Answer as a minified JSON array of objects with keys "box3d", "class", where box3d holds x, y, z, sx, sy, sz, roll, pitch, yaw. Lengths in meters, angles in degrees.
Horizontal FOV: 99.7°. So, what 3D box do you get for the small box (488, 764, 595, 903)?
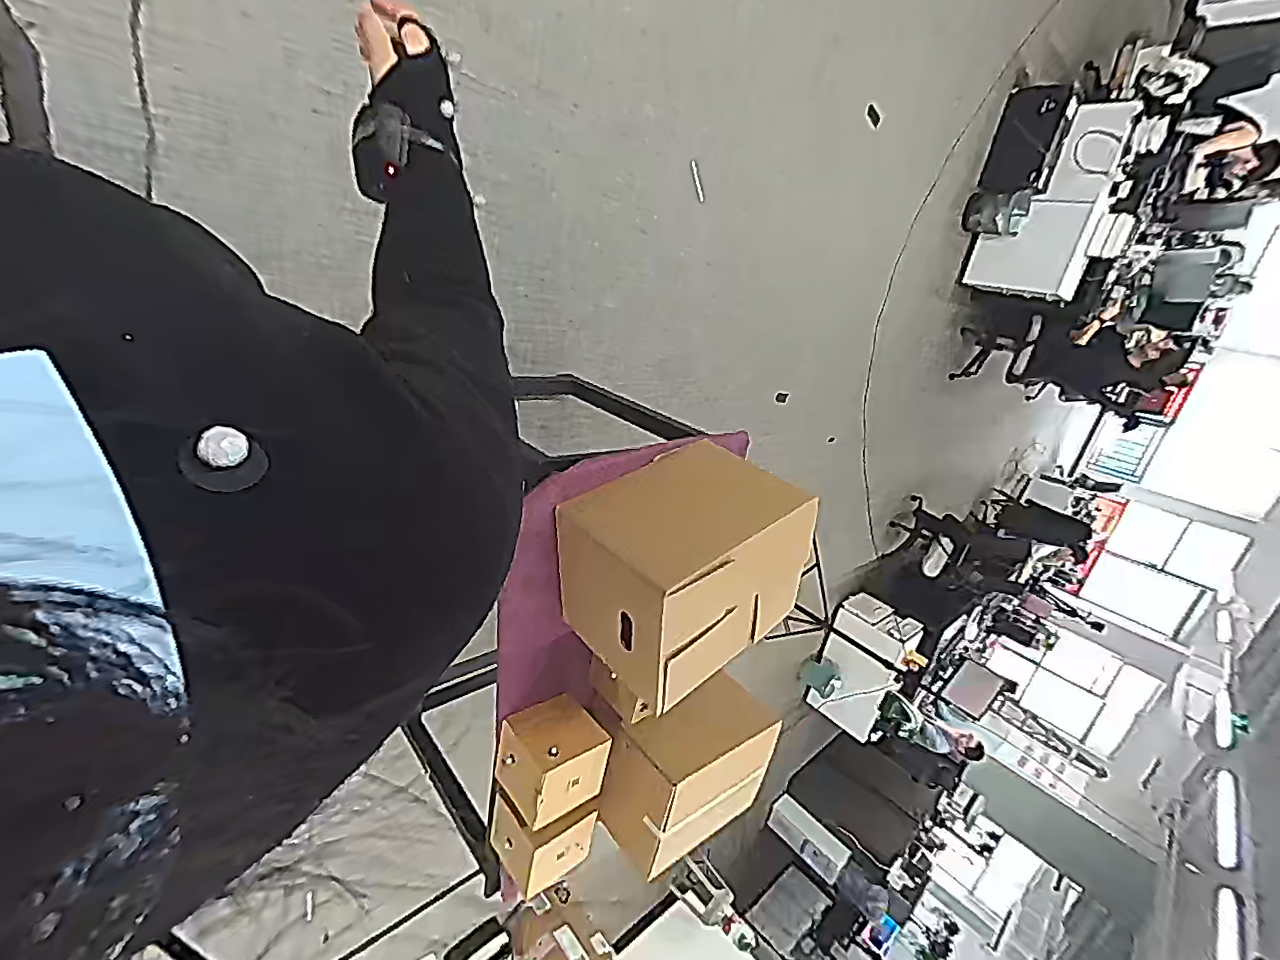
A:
[{"box3d":[-0.235,0.813,1.263,0.179,0.176,0.168,-7,118,-44],"class":"small box"}]
